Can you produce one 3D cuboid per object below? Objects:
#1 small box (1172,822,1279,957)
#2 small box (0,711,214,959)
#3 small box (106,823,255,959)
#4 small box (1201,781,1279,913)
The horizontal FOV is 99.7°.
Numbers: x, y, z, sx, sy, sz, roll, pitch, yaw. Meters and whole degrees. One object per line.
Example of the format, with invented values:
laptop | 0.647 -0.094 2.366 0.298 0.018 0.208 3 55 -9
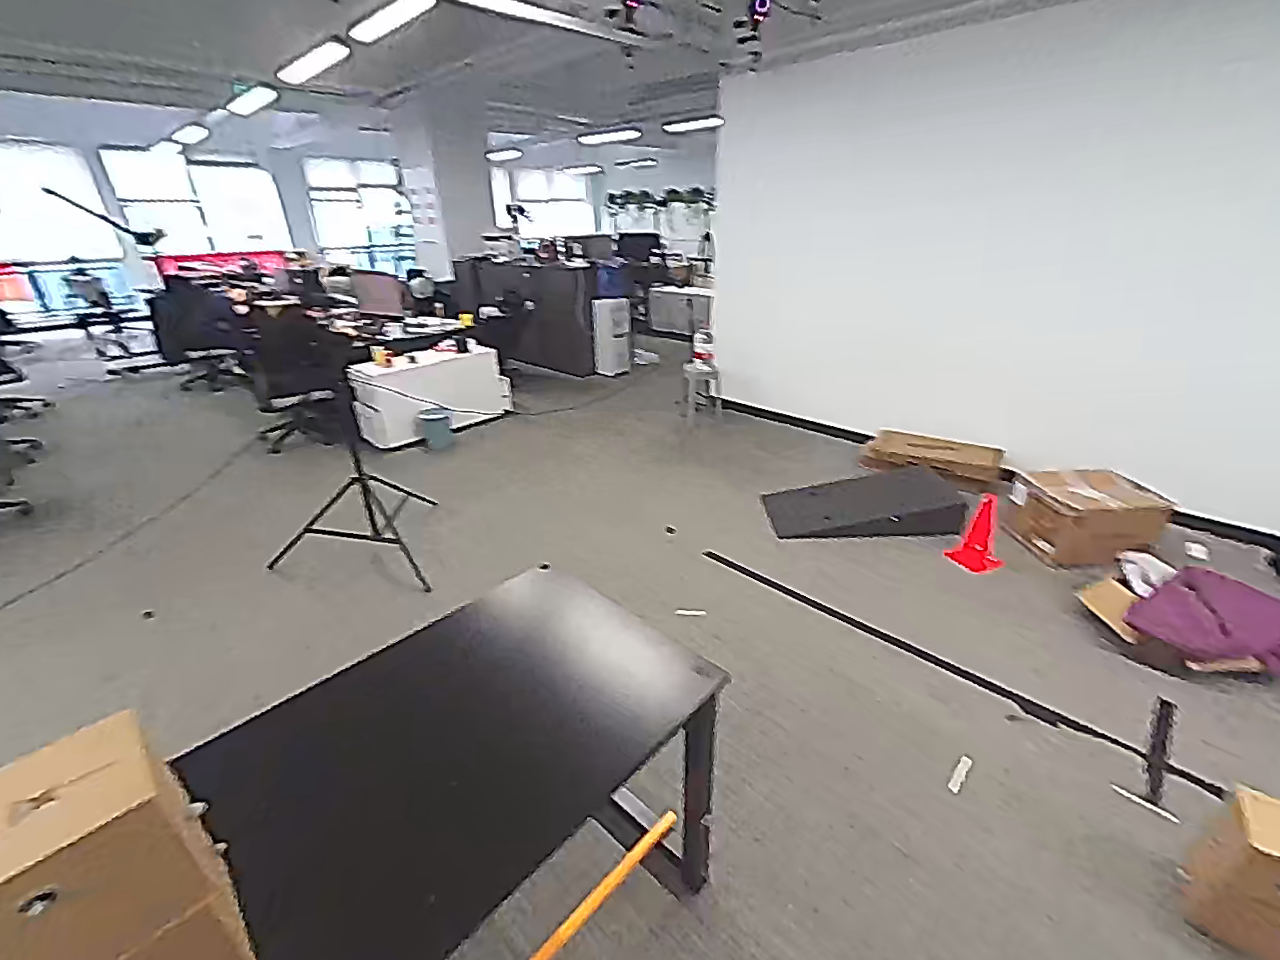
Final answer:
small box | 1.429 0.983 1.294 0.179 0.176 0.168 18 32 34
small box | -0.598 0.397 0.569 0.168 0.176 0.179 21 33 38
small box | -0.595 0.544 0.642 0.179 0.176 0.168 22 35 39
small box | 1.418 0.838 1.217 0.168 0.176 0.179 17 32 33
